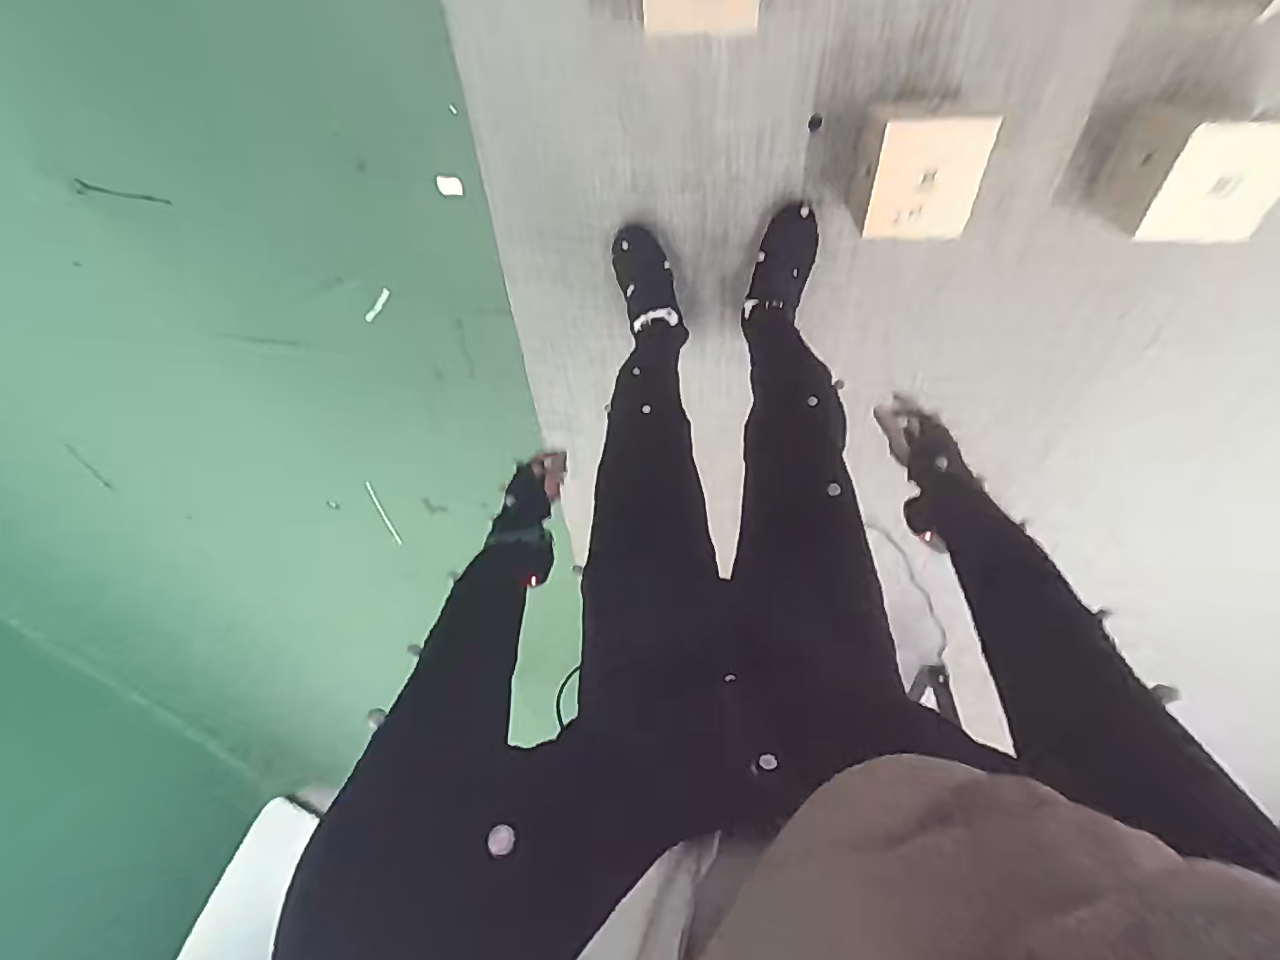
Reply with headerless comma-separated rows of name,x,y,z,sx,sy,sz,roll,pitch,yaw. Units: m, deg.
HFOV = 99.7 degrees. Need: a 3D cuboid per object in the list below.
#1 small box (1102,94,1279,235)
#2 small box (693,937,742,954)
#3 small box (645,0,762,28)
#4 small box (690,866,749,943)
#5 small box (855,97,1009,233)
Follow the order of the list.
small box,0.906,-0.506,0.867,0.179,0.176,0.168,3,133,6
small box,0.273,1.548,1.912,0.168,0.176,0.179,1,133,9
small box,0.097,-0.764,0.770,0.168,0.176,0.179,4,134,7
small box,0.253,1.365,1.742,0.179,0.176,0.168,2,134,7
small box,0.475,-0.535,0.914,0.168,0.176,0.179,3,133,8
